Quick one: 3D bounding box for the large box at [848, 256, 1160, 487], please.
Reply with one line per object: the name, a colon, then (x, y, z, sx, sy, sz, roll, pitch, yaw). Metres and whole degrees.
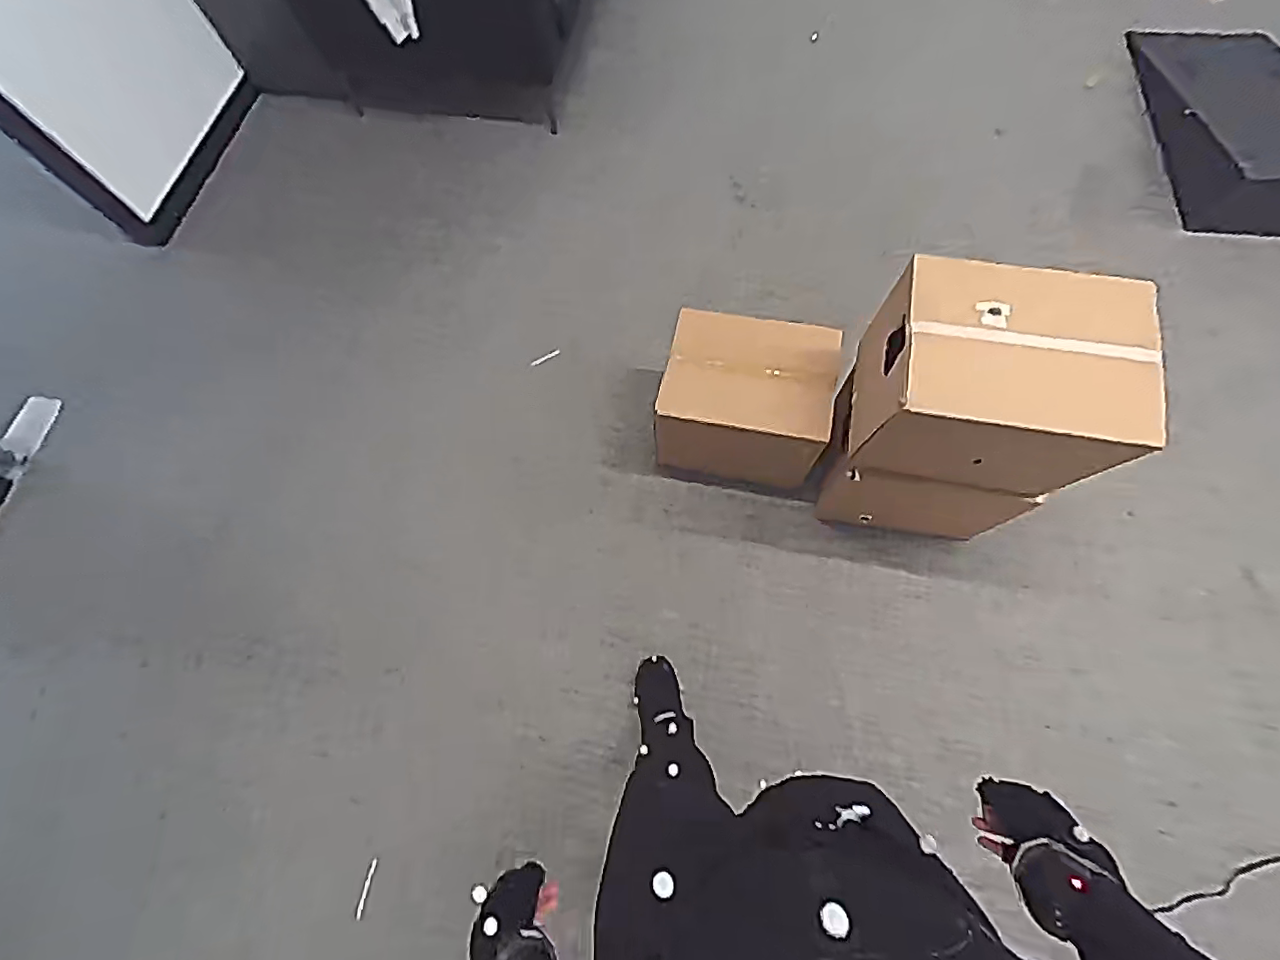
large box: (0.663, -0.192, 1.052, 0.408, 0.320, 0.320, 9, 75, 7)
